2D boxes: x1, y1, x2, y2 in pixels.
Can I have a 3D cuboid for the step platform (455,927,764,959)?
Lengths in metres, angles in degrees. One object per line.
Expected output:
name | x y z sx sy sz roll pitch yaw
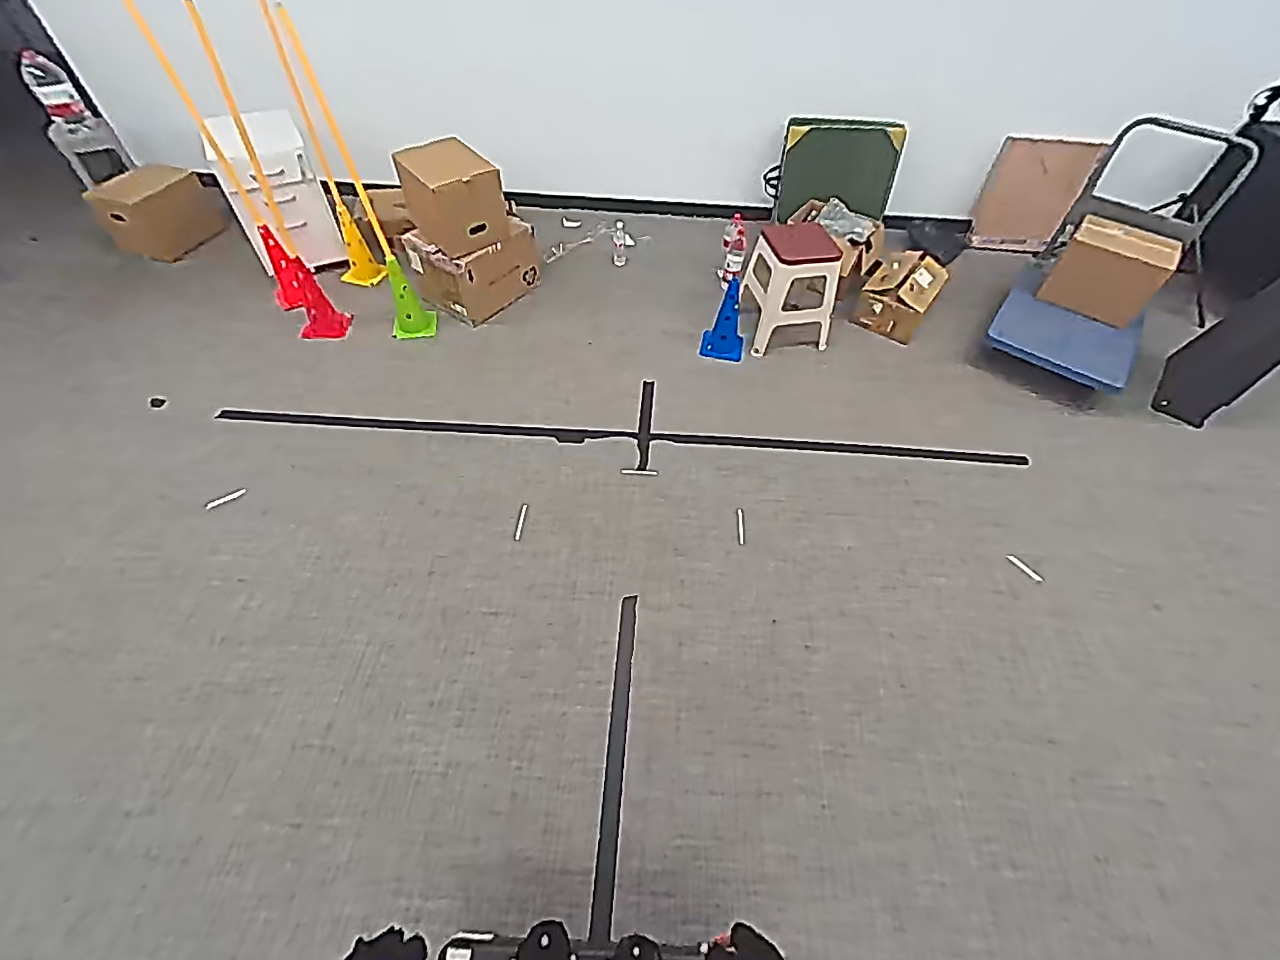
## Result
step platform | -0.065 1.119 1.110 0.684 0.204 0.286 3 52 -1
